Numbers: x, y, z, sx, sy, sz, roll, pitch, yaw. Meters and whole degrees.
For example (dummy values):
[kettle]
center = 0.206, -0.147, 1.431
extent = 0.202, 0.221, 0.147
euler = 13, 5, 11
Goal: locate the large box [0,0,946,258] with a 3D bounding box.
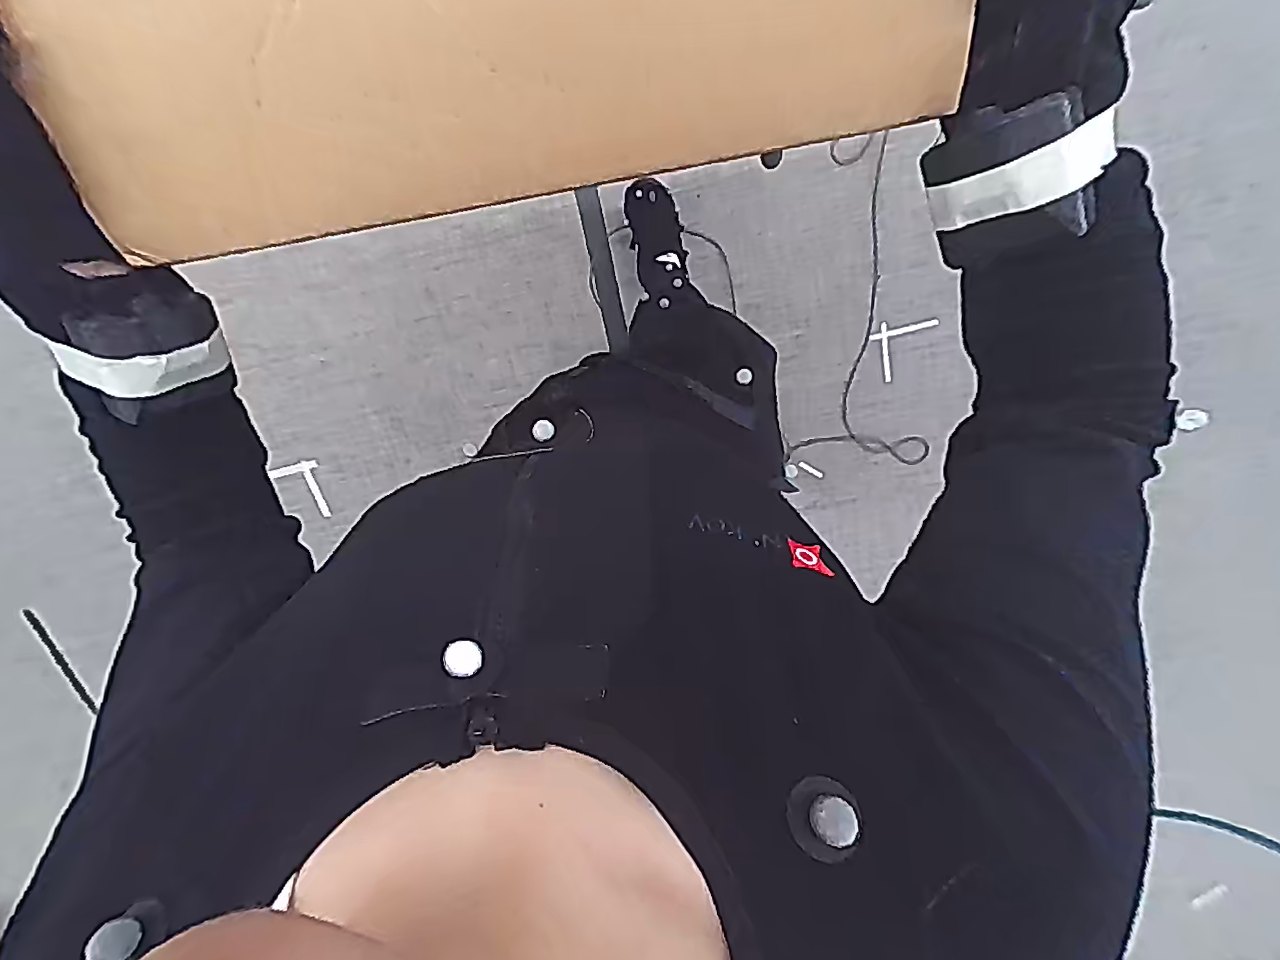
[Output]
[large box]
center = -0.087, -0.355, 0.291
extent = 0.408, 0.320, 0.320
euler = -8, 127, 3
